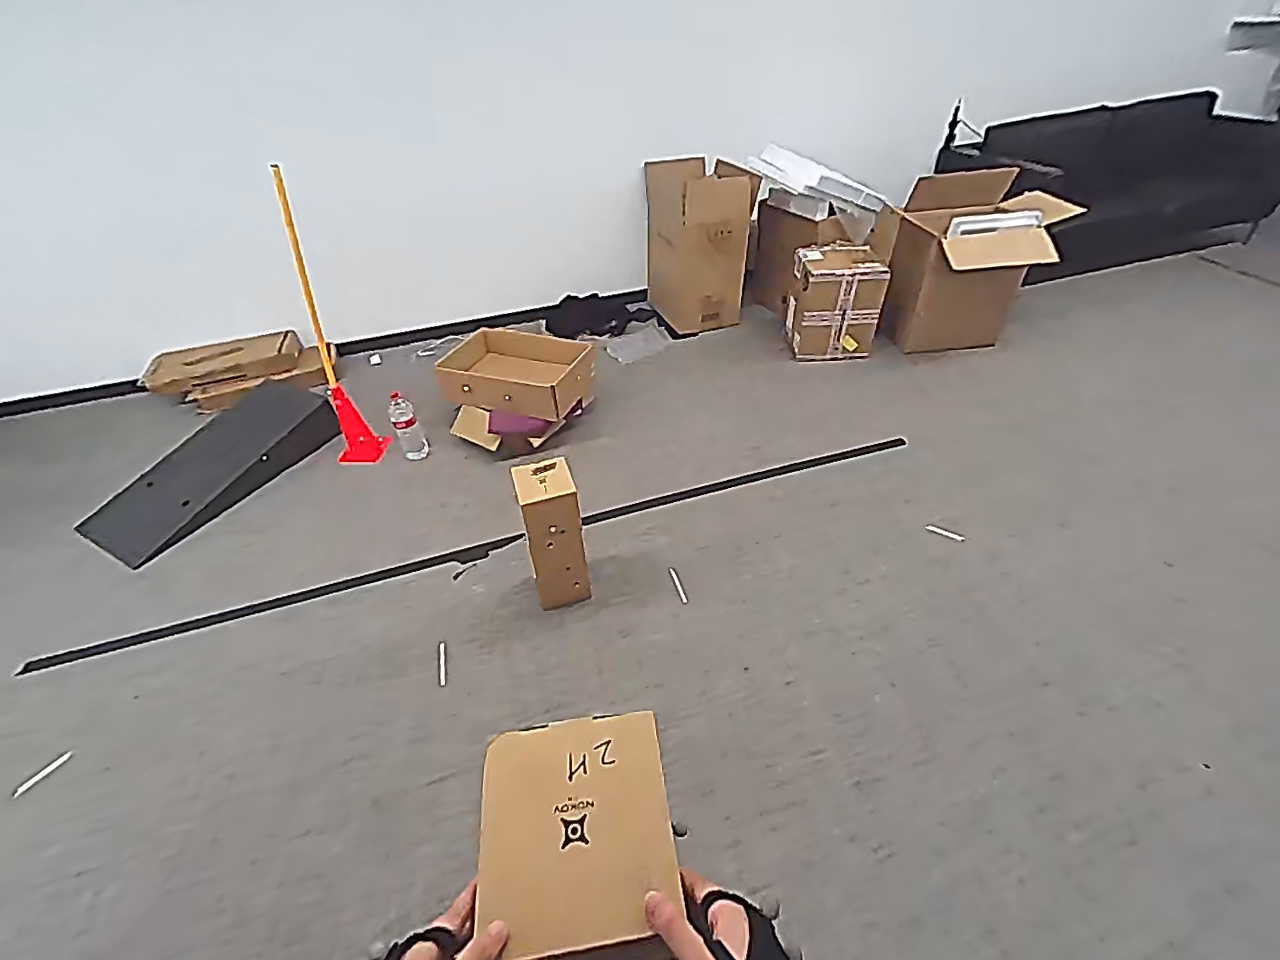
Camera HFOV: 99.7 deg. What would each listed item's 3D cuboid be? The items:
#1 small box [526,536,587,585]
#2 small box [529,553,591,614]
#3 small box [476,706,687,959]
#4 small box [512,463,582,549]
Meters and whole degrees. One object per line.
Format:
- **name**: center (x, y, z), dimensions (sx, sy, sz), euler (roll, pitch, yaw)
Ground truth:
- **small box**: center (-0.276, 0.206, 1.741), dimensions (0.168, 0.176, 0.179), euler (-15, 40, -12)
- **small box**: center (-0.268, 0.330, 1.847), dimensions (0.179, 0.176, 0.168), euler (-15, 41, -10)
- **small box**: center (-0.050, 0.352, 0.523), dimensions (0.168, 0.176, 0.179), euler (-8, 42, -4)
- **small box**: center (-0.280, 0.079, 1.635), dimensions (0.168, 0.176, 0.179), euler (-15, 42, -12)
